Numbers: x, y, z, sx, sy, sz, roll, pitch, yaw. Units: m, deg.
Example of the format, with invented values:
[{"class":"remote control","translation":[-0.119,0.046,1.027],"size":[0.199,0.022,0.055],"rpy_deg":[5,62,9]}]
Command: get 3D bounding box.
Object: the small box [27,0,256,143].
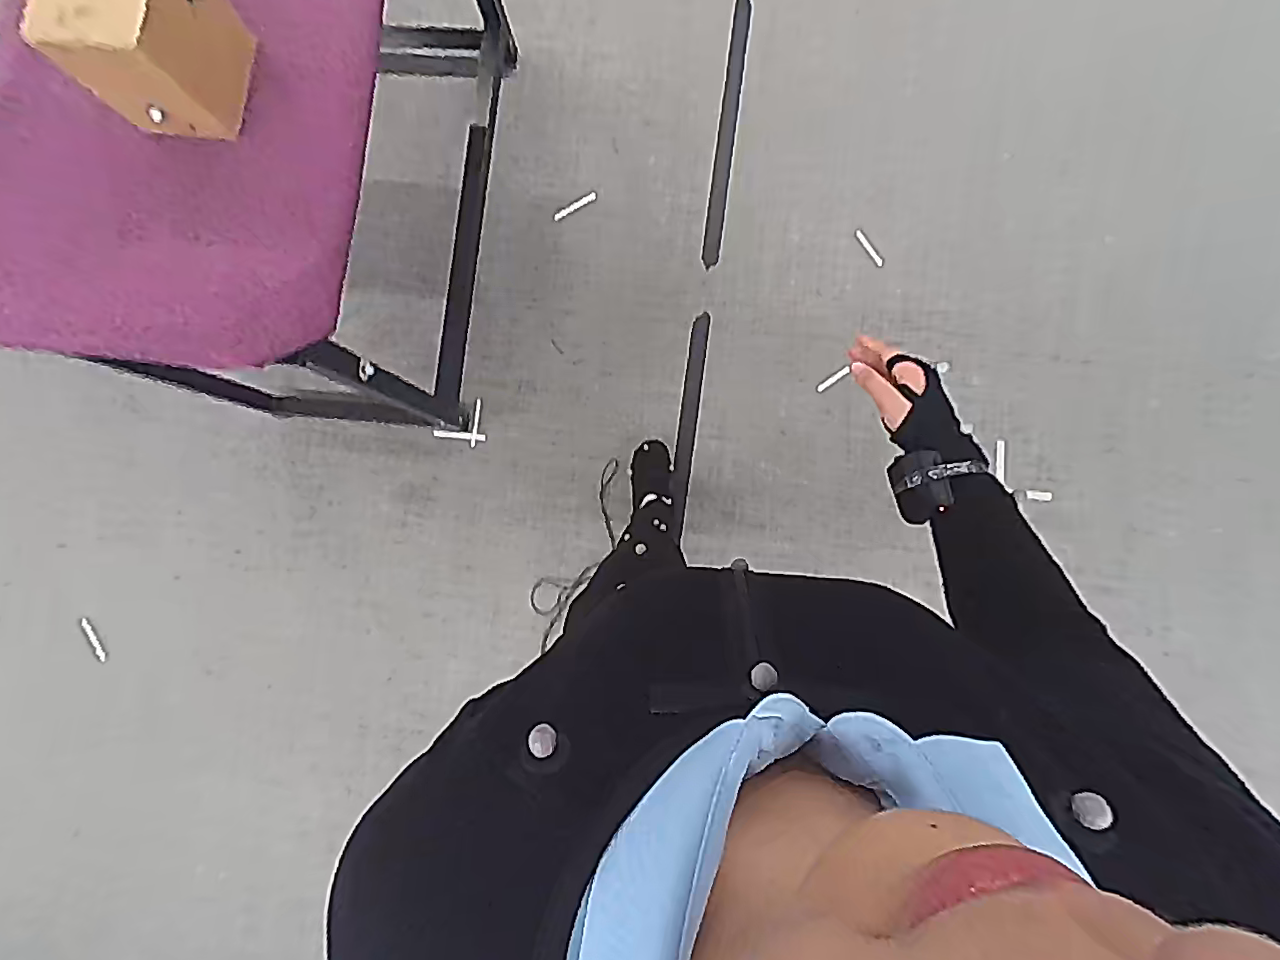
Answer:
[{"class":"small box","translation":[-0.706,-0.637,0.789],"size":[0.168,0.176,0.179],"rpy_deg":[7,85,4]}]
